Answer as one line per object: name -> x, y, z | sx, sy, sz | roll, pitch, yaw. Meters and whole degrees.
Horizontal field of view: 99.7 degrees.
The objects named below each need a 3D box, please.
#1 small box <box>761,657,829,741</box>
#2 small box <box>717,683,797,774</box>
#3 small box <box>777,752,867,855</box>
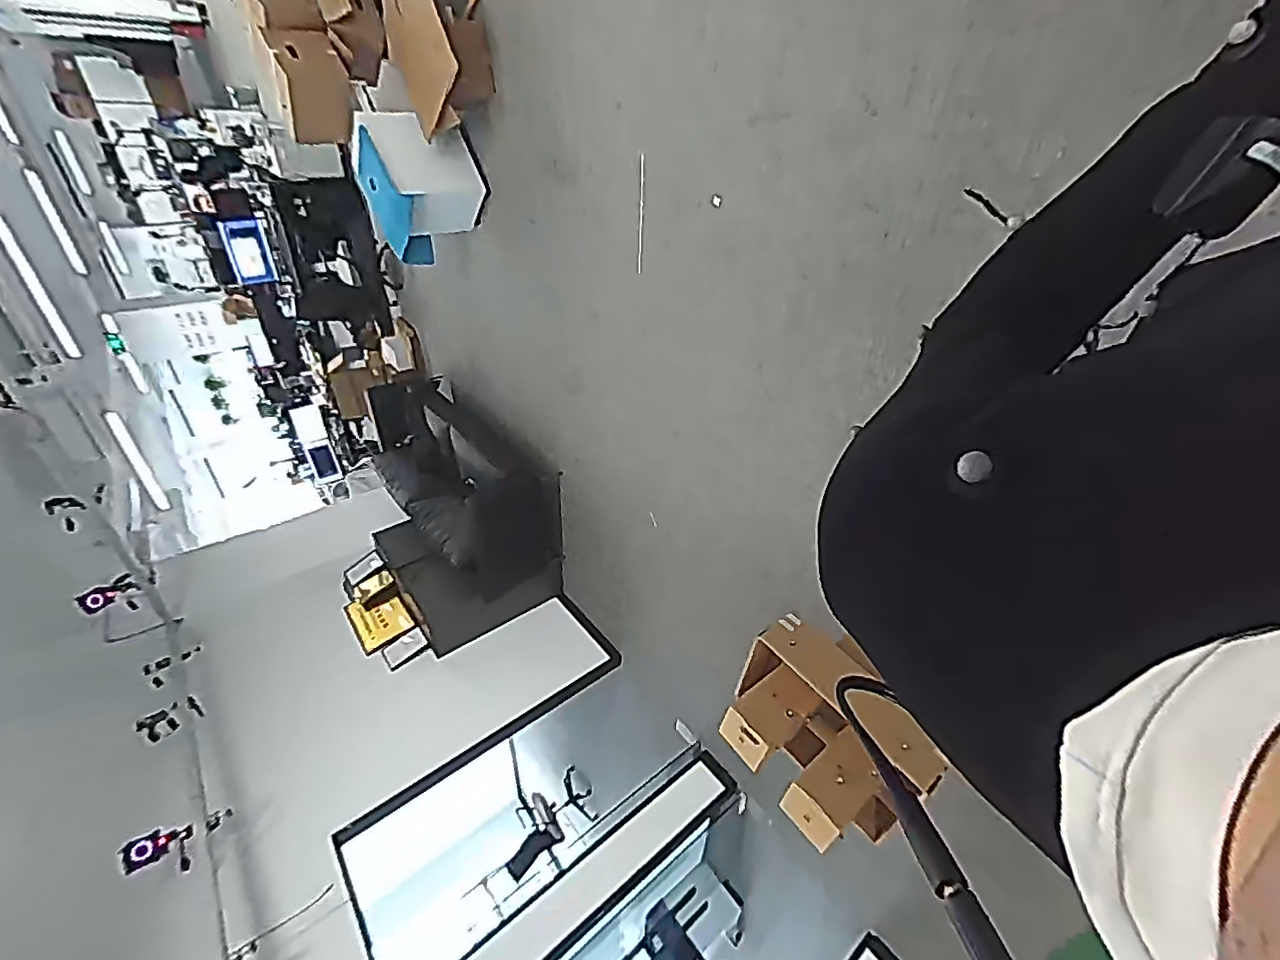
small box -> 0.507, 0.740, 1.827 | 0.168, 0.176, 0.179 | 42, 139, 34
small box -> 0.378, 0.793, 1.740 | 0.168, 0.176, 0.179 | 43, 140, 34
small box -> 0.538, 0.952, 1.597 | 0.168, 0.176, 0.179 | 40, 139, 35
